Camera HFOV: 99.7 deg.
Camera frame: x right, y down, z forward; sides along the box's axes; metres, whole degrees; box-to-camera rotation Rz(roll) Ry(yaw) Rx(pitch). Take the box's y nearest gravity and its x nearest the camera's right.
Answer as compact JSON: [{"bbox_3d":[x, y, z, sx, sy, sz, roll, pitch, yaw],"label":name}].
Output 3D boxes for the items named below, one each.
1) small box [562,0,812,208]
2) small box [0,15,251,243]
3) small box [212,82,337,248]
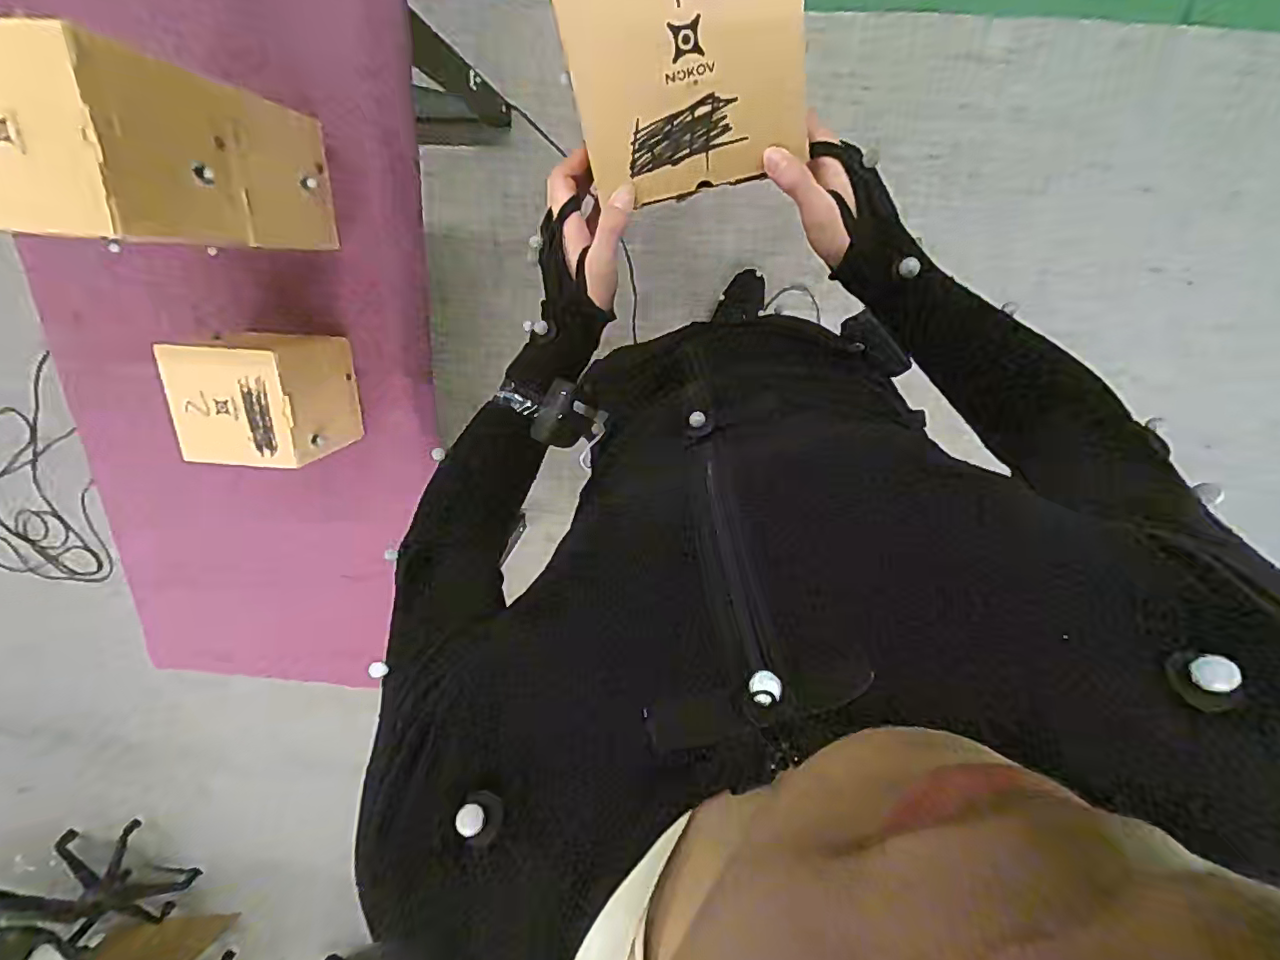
[{"bbox_3d":[0.035,-0.346,0.439,0.168,0.176,0.179,-11,125,5],"label":"small box"},{"bbox_3d":[-0.555,-0.341,0.556,0.179,0.176,0.168,4,111,4],"label":"small box"},{"bbox_3d":[-0.537,-0.400,0.707,0.179,0.176,0.168,5,112,4],"label":"small box"}]
